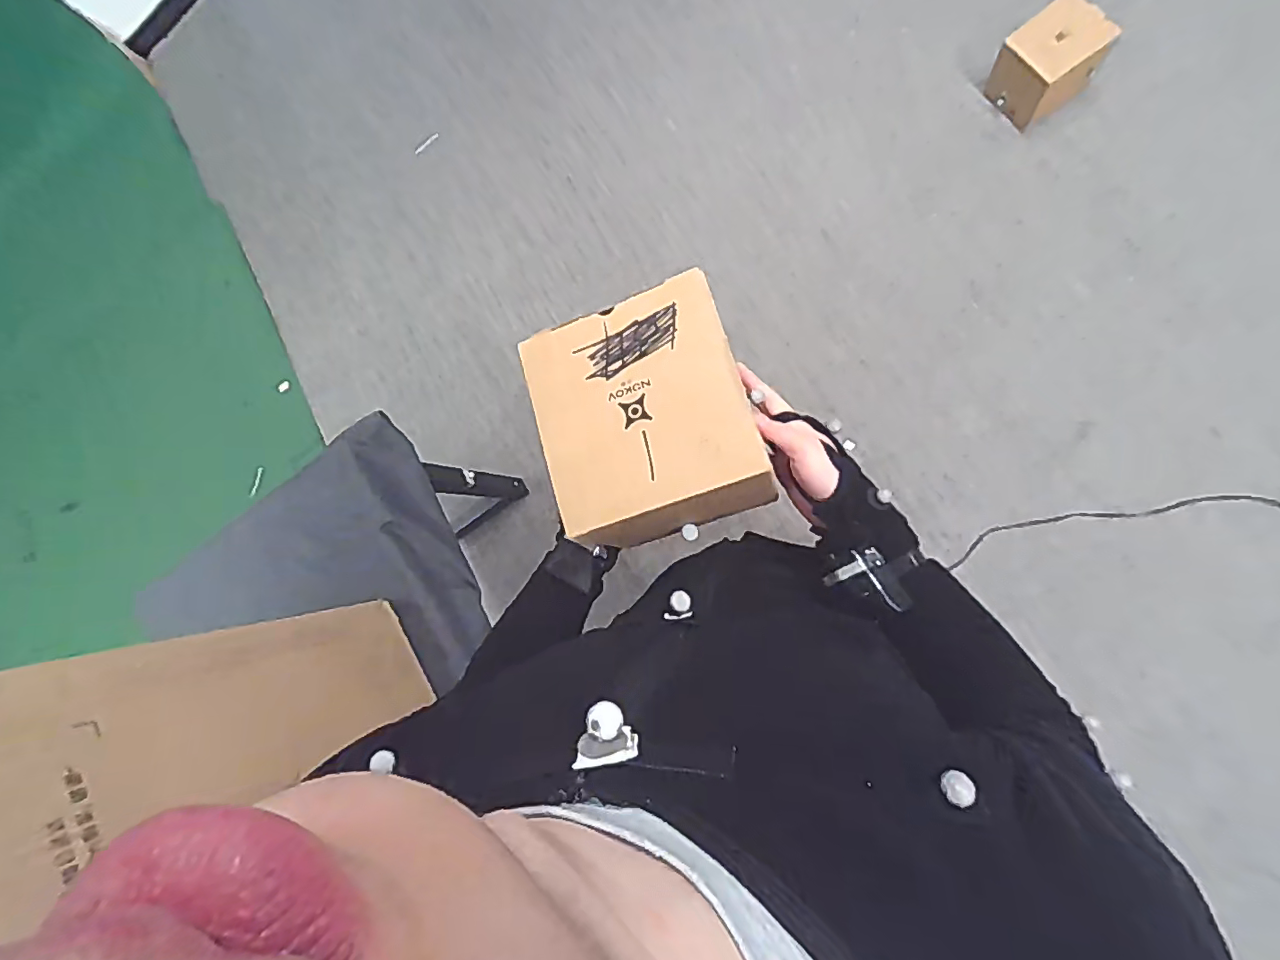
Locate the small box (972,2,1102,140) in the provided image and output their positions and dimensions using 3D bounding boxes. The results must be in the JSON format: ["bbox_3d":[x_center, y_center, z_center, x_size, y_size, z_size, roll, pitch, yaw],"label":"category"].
[{"bbox_3d":[0.979,-1.013,1.354,0.179,0.176,0.168,-35,76,11],"label":"small box"}]
